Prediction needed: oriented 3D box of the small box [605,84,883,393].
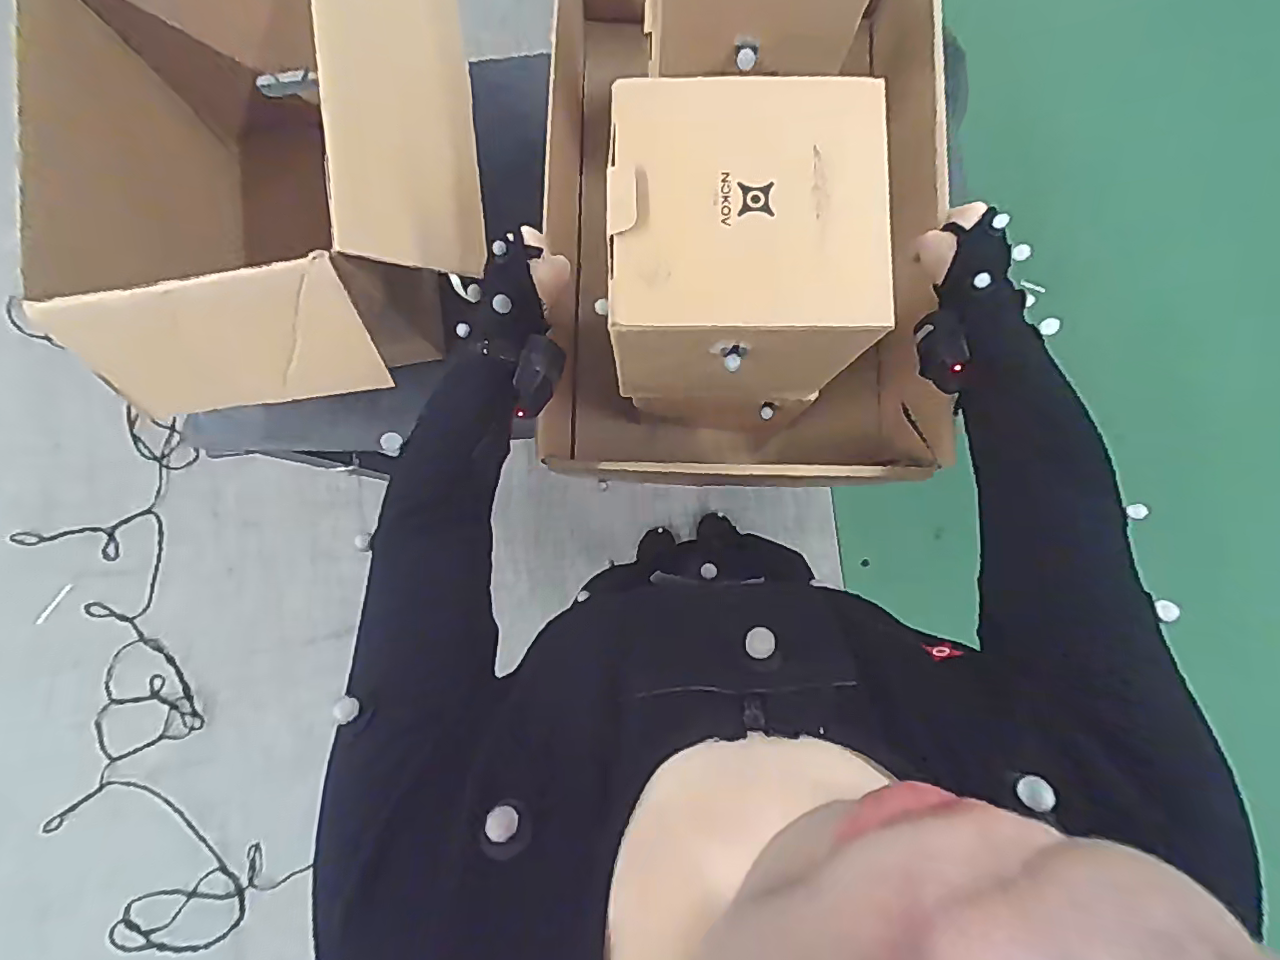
[{"bbox_3d":[0.066,-0.167,0.425,0.179,0.176,0.168,0,85,0],"label":"small box"}]
